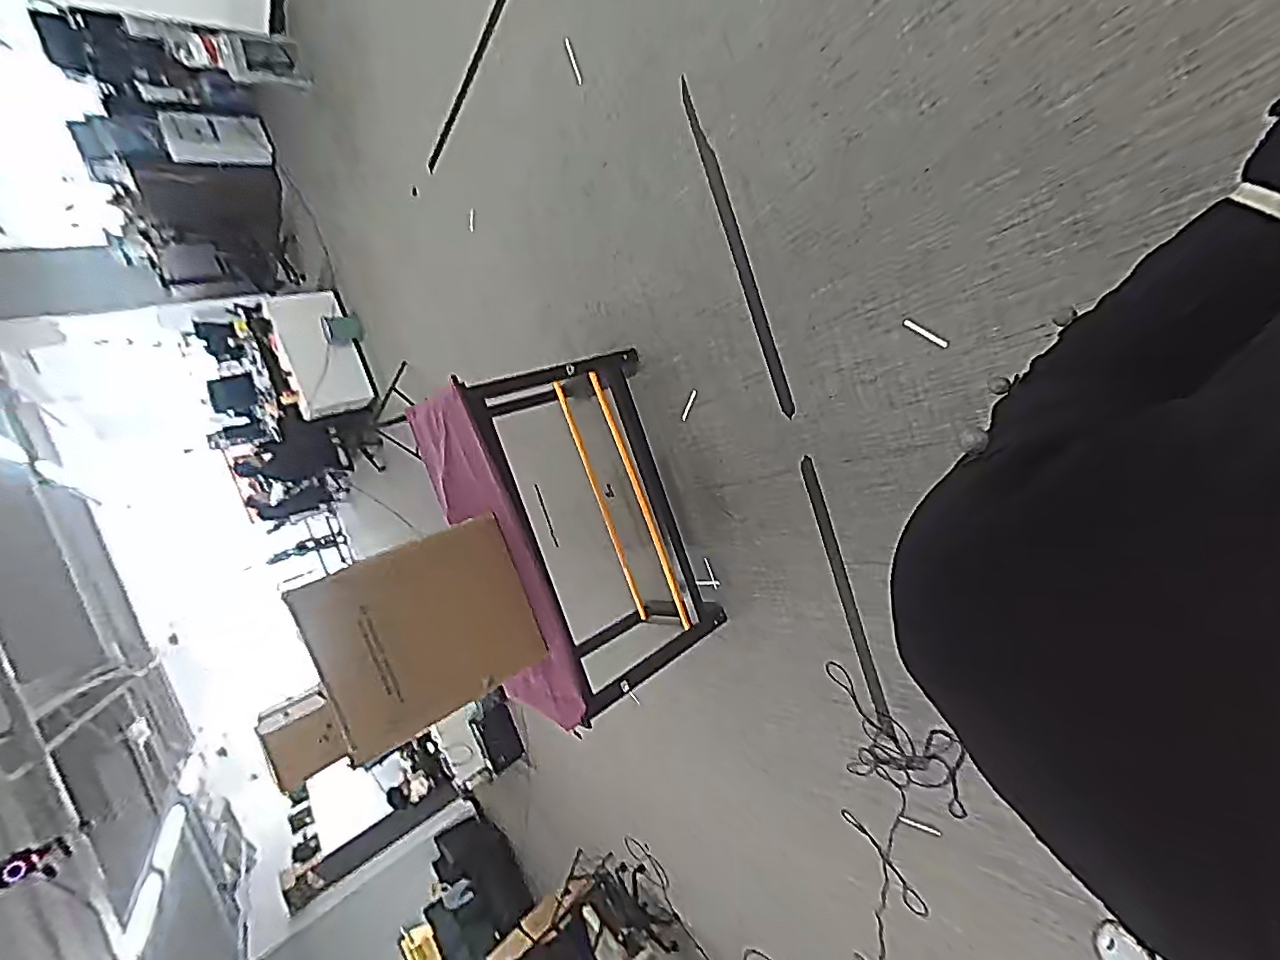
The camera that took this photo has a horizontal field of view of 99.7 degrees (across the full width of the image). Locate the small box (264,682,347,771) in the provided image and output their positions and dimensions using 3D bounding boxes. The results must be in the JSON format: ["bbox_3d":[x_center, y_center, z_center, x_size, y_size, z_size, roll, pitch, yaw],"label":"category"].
[{"bbox_3d":[-1.018,0.738,1.644,0.168,0.176,0.179,-17,93,55],"label":"small box"}]
